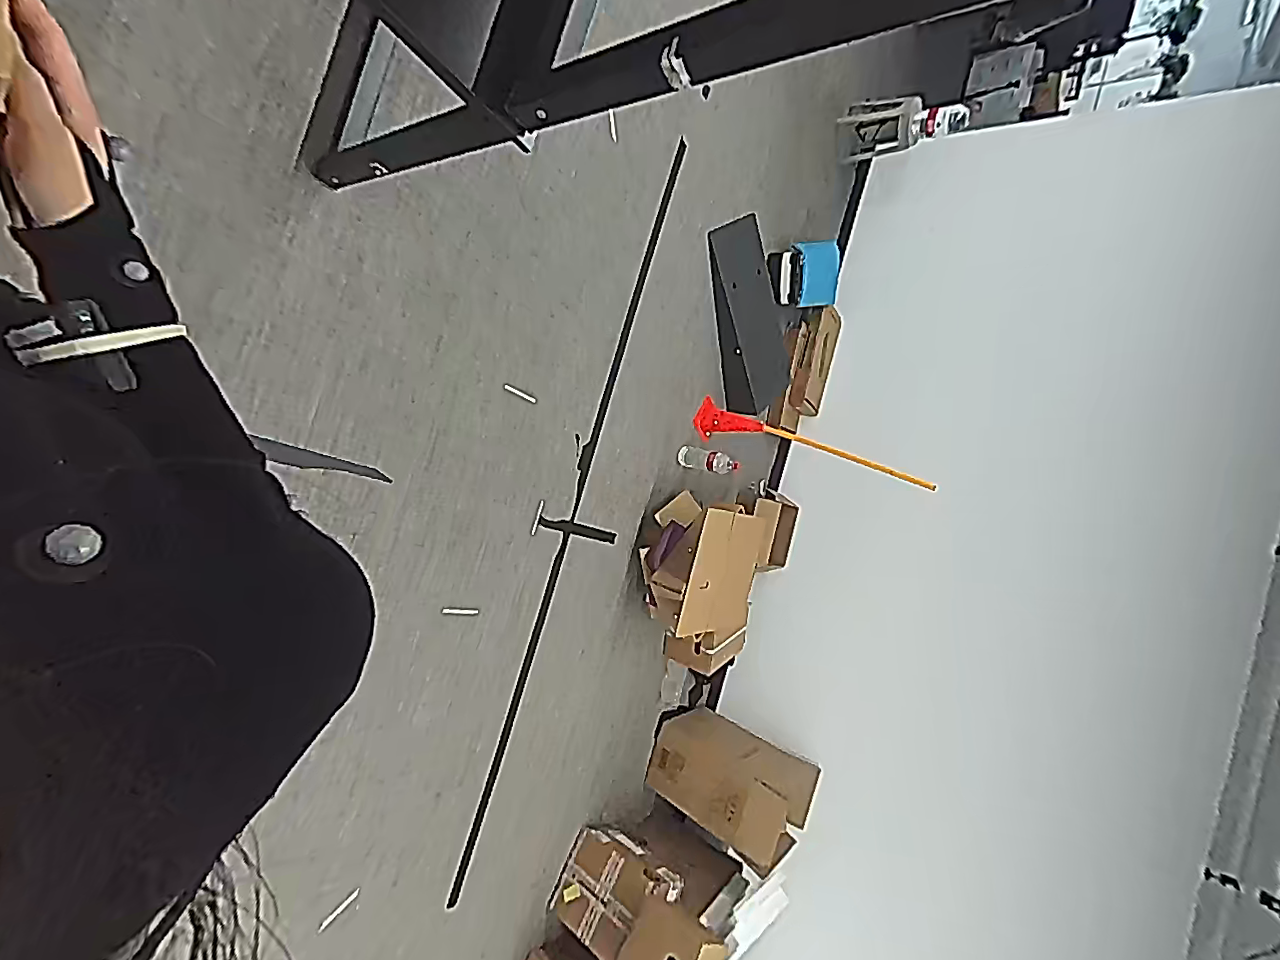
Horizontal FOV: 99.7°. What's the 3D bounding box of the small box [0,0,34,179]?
[{"bbox_3d":[-0.402,-0.248,0.232,0.168,0.176,0.179,-2,83,-56],"label":"small box"}]
